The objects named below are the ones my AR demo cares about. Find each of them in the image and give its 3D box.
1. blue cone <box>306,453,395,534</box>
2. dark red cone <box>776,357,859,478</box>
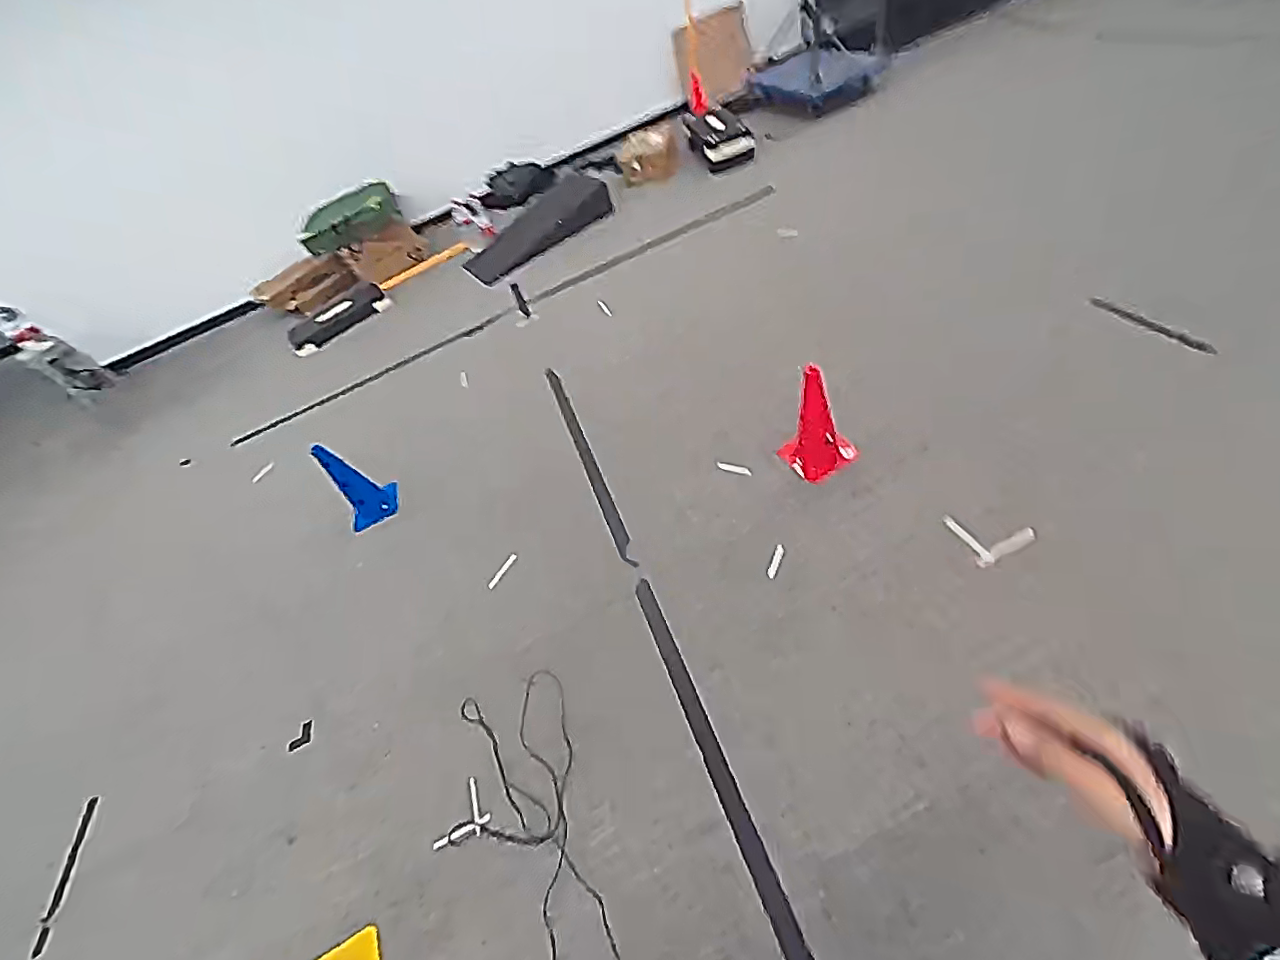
[{"bbox_3d":[-1.150,0.024,2.125,0.192,0.380,0.193,-26,45,-1],"label":"blue cone"},{"bbox_3d":[0.525,-0.208,1.635,0.201,0.394,0.202,-32,46,-7],"label":"dark red cone"}]
